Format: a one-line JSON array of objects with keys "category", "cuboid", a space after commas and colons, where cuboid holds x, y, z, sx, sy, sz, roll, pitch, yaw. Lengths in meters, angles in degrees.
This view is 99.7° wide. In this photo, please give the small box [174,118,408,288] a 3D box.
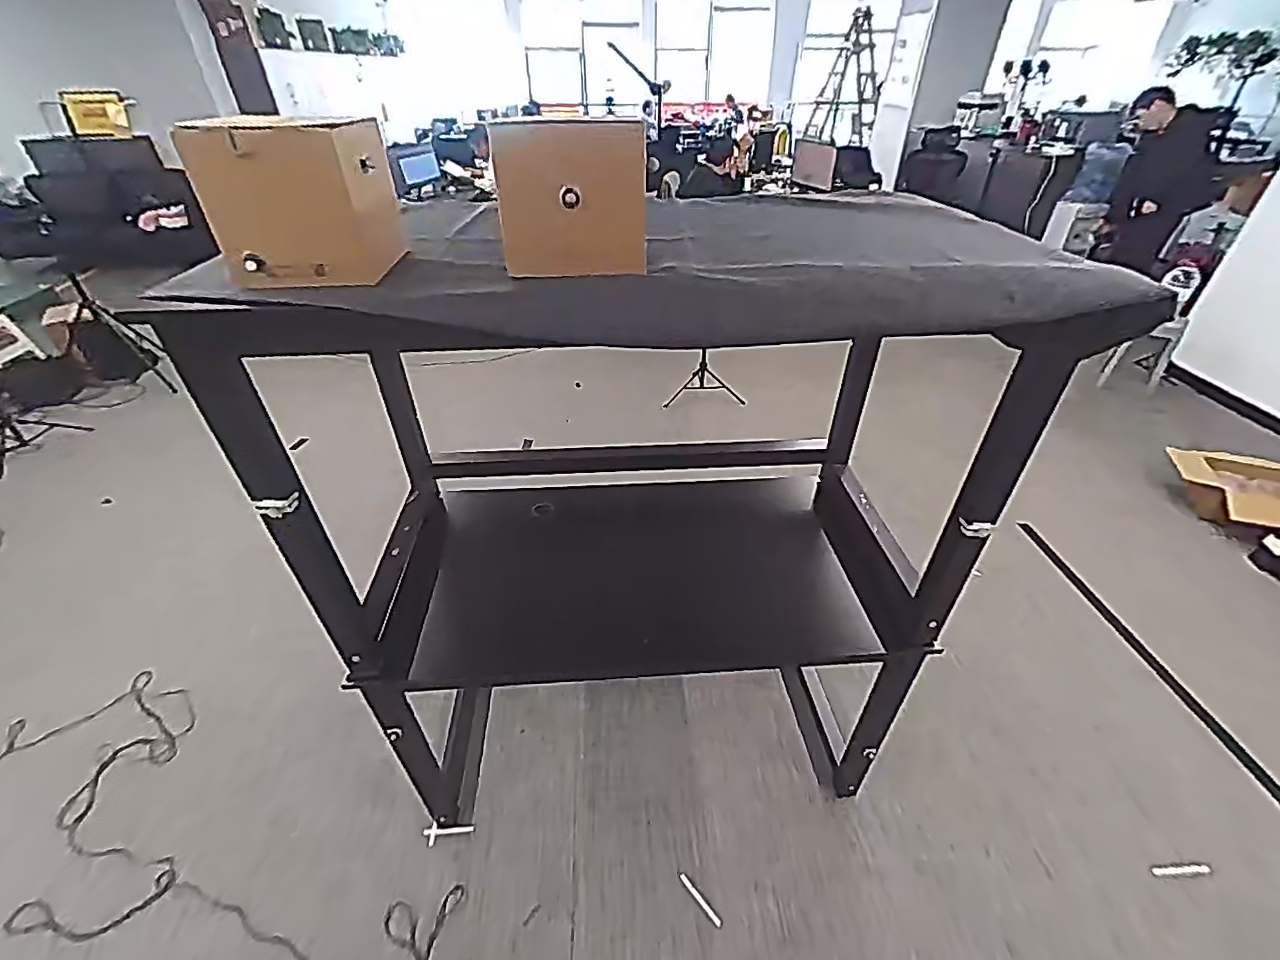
[{"category": "small box", "cuboid": [-0.410, -0.347, 0.679, 0.168, 0.176, 0.179, -3, 37, -4]}]
